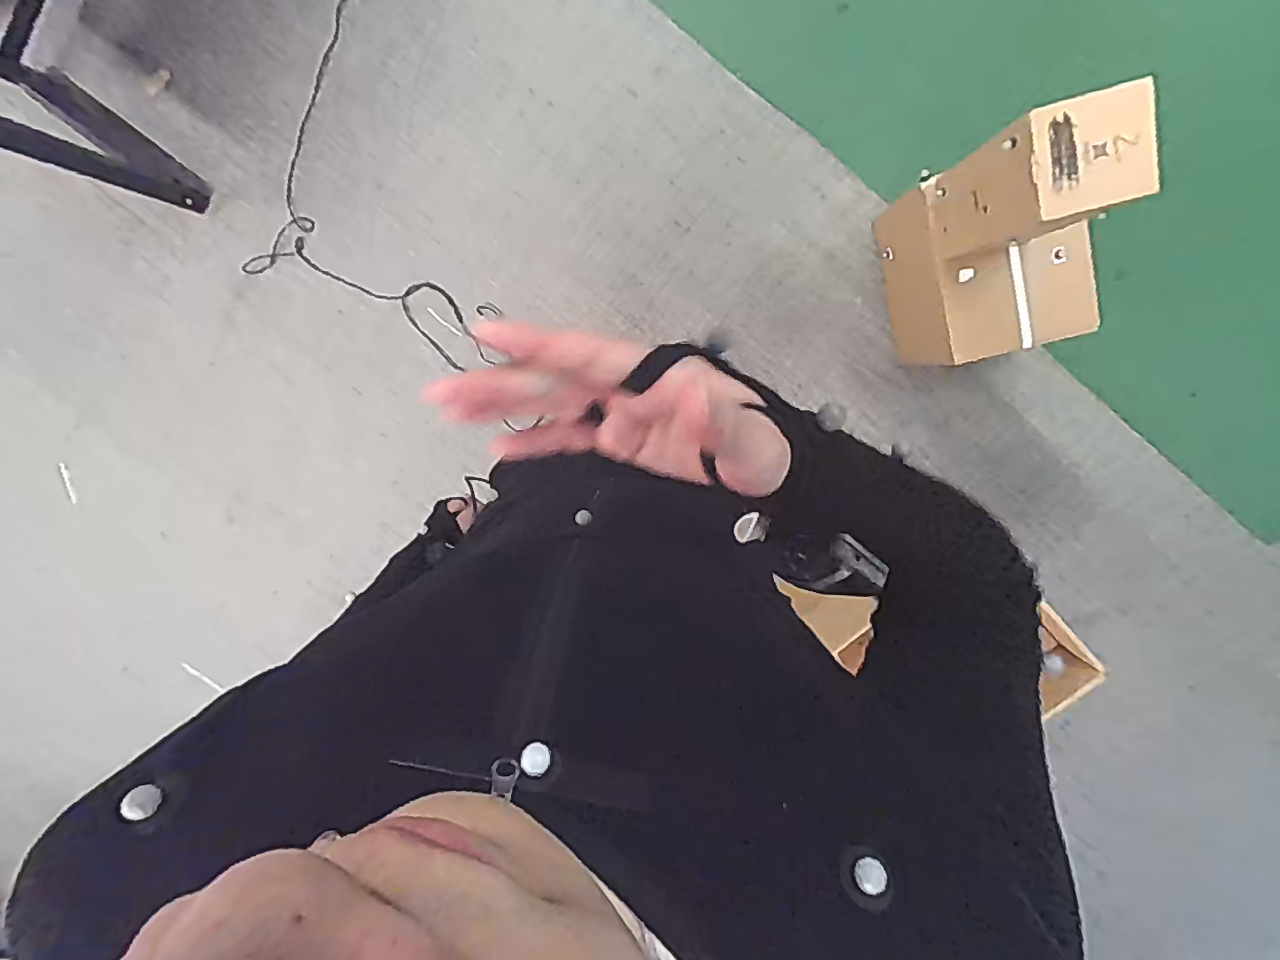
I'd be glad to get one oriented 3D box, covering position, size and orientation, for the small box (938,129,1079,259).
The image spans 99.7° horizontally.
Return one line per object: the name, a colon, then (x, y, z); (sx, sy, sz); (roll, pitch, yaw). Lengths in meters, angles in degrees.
small box: (0.712, -0.550, 1.066); (0.179, 0.176, 0.168); (-11, 101, 6)
